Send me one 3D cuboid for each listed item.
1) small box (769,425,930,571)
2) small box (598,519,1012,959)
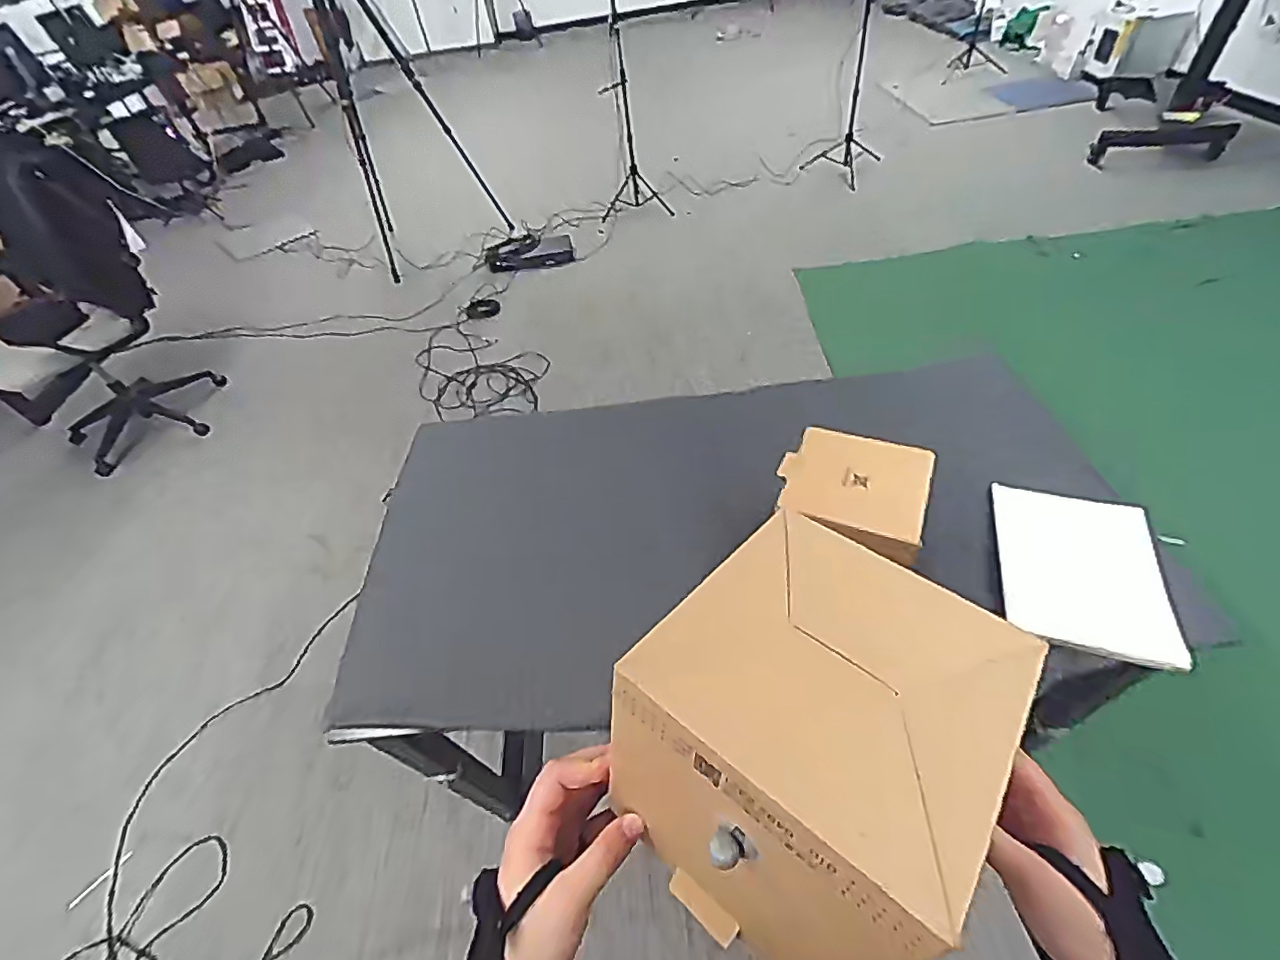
[{"bbox_3d":[0.293,0.051,0.782,0.179,0.176,0.168,15,53,22],"label":"small box"},{"bbox_3d":[0.092,0.147,0.333,0.168,0.176,0.179,29,45,29],"label":"small box"}]
